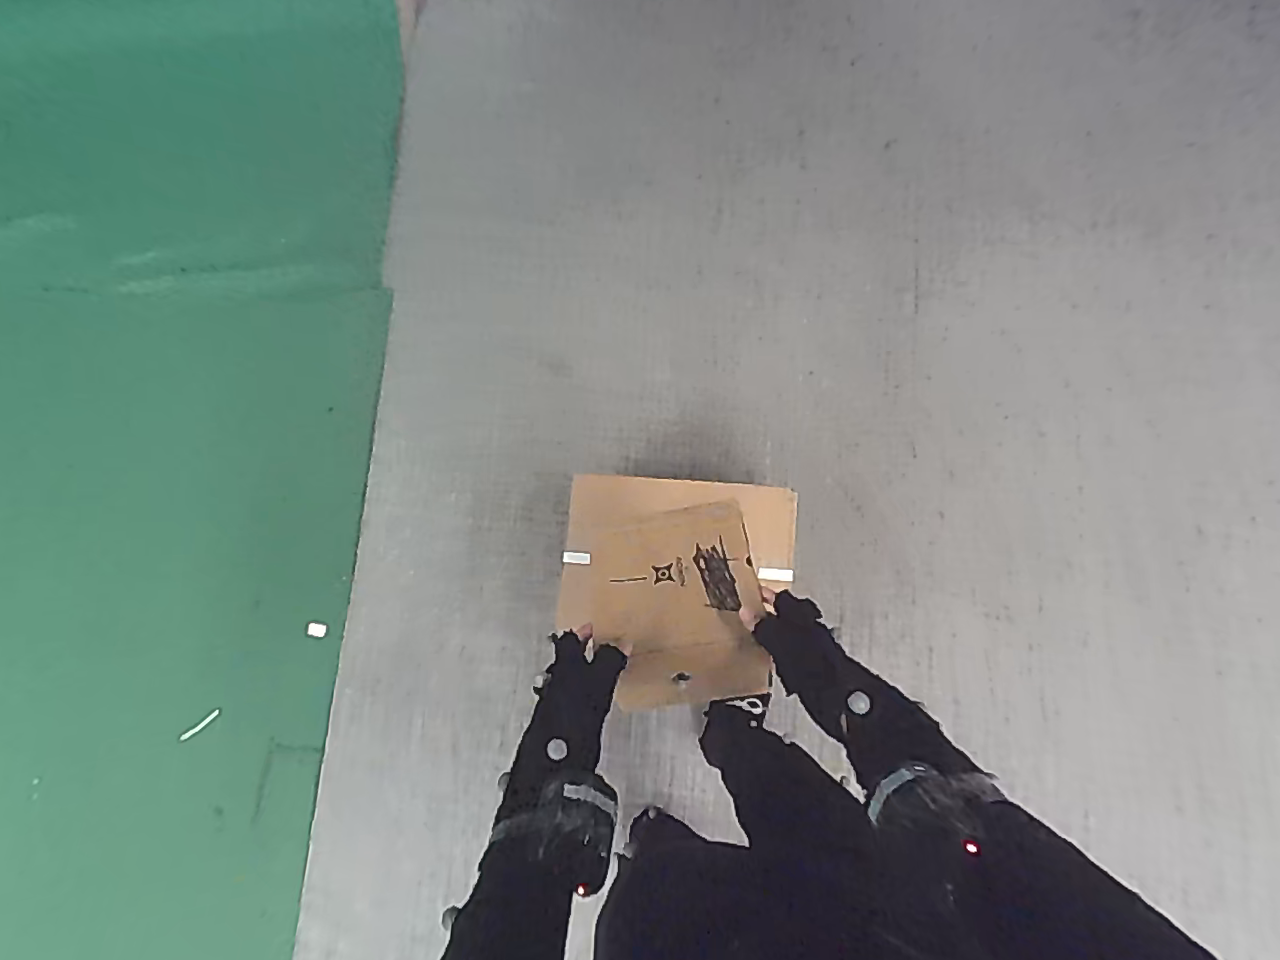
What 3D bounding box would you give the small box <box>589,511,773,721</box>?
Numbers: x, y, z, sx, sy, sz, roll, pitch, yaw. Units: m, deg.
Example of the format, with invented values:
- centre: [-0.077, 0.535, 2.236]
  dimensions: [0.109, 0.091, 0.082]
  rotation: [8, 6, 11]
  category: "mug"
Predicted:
- centre: [0.046, 0.161, 0.623]
  dimensions: [0.179, 0.176, 0.168]
  rotation: [-11, 49, 5]
  category: "small box"
